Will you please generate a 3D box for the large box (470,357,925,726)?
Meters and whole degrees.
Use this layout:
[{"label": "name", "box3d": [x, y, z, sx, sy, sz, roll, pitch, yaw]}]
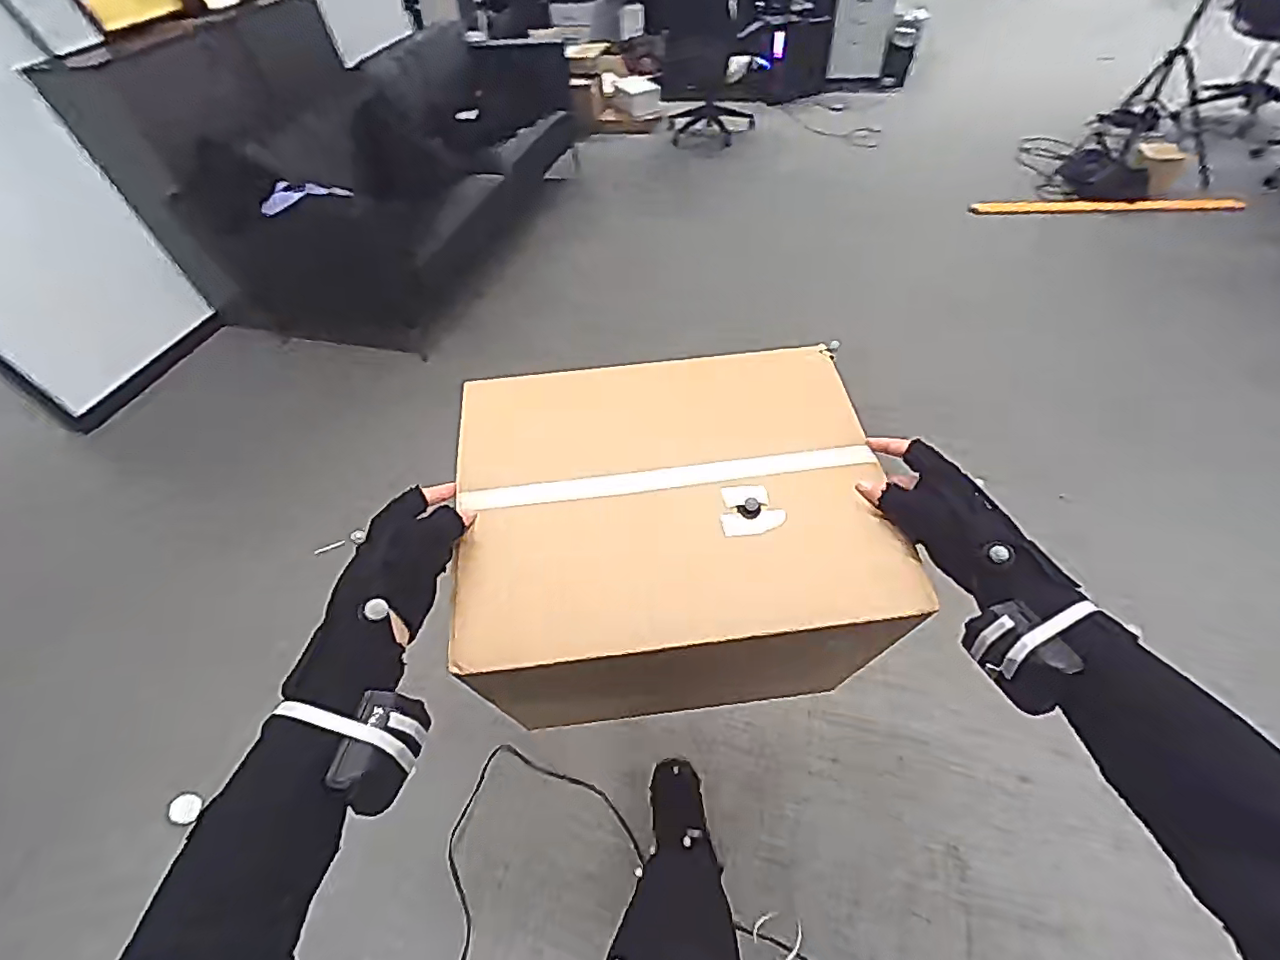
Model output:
[{"label": "large box", "box3d": [0.035, 0.085, 0.661, 0.408, 0.320, 0.320, -6, 57, -3]}]
